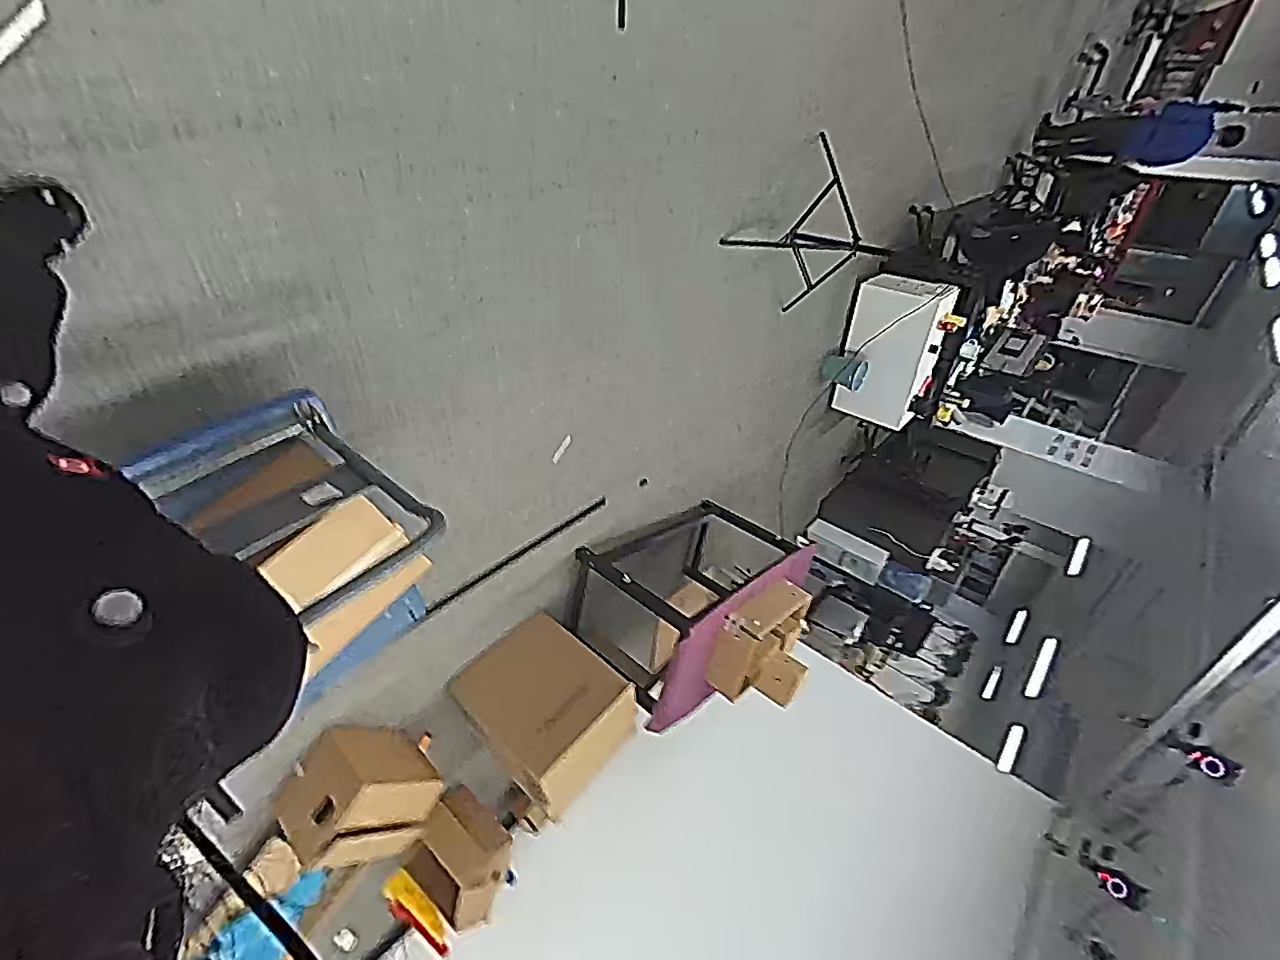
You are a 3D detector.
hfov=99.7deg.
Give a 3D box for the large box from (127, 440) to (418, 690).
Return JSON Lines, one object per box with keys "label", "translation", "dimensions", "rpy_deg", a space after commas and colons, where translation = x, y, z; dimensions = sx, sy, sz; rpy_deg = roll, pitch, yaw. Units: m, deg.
{"label": "large box", "translation": [-0.817, 0.183, 1.242], "dimensions": [0.408, 0.320, 0.320], "rpy_deg": [-46, 144, -22]}
